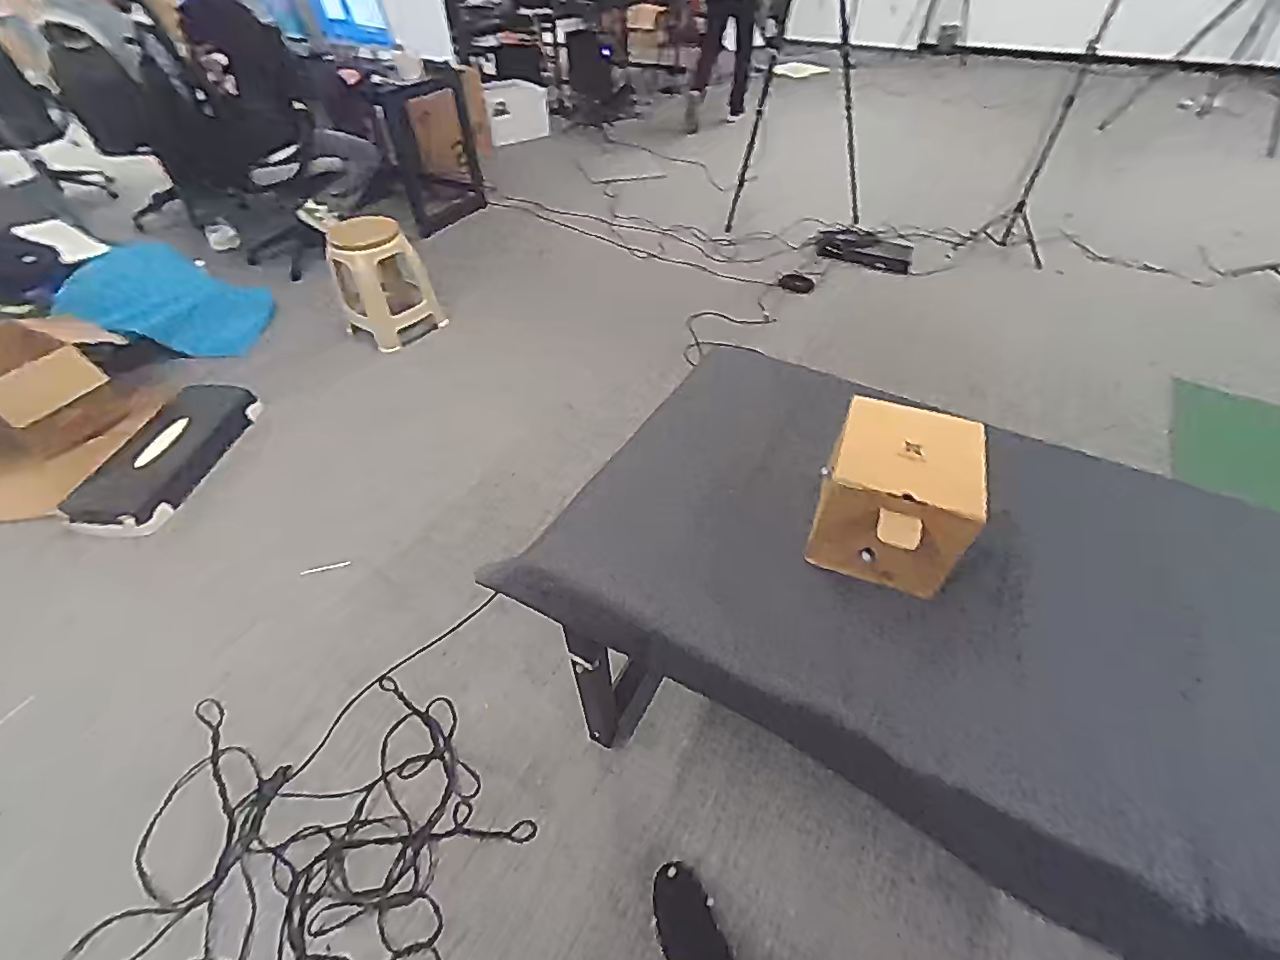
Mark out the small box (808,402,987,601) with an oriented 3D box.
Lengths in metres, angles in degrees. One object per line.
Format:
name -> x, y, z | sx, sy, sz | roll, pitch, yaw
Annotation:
small box -> 0.334, 0.027, 0.722 | 0.168, 0.176, 0.179 | 16, 49, 15
